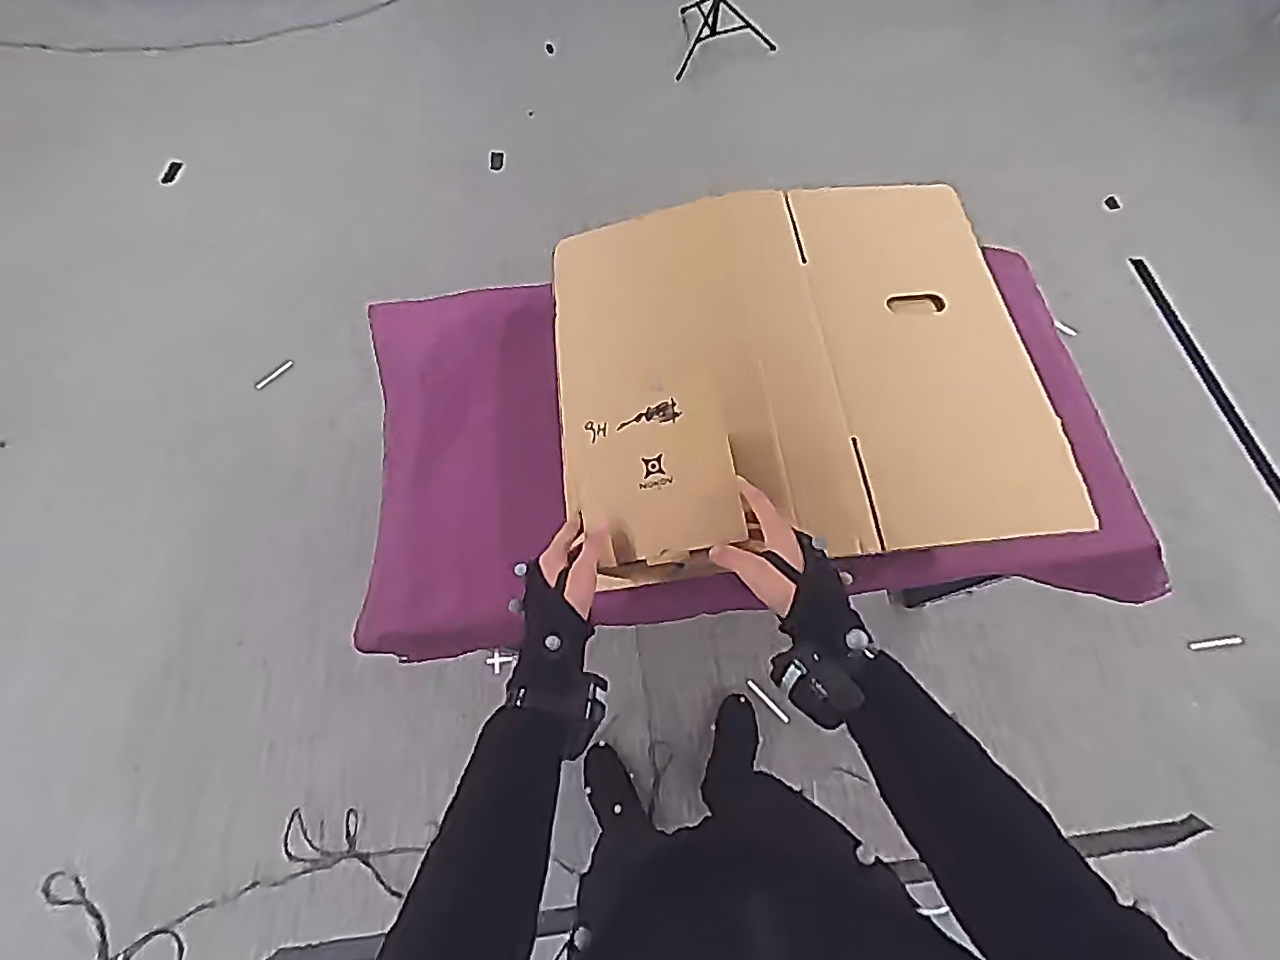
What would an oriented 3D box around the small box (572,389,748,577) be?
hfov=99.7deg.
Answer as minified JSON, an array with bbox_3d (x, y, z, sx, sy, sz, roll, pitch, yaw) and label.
[{"bbox_3d":[0.031,0.017,0.641,0.168,0.176,0.179,-12,75,9],"label":"small box"}]
